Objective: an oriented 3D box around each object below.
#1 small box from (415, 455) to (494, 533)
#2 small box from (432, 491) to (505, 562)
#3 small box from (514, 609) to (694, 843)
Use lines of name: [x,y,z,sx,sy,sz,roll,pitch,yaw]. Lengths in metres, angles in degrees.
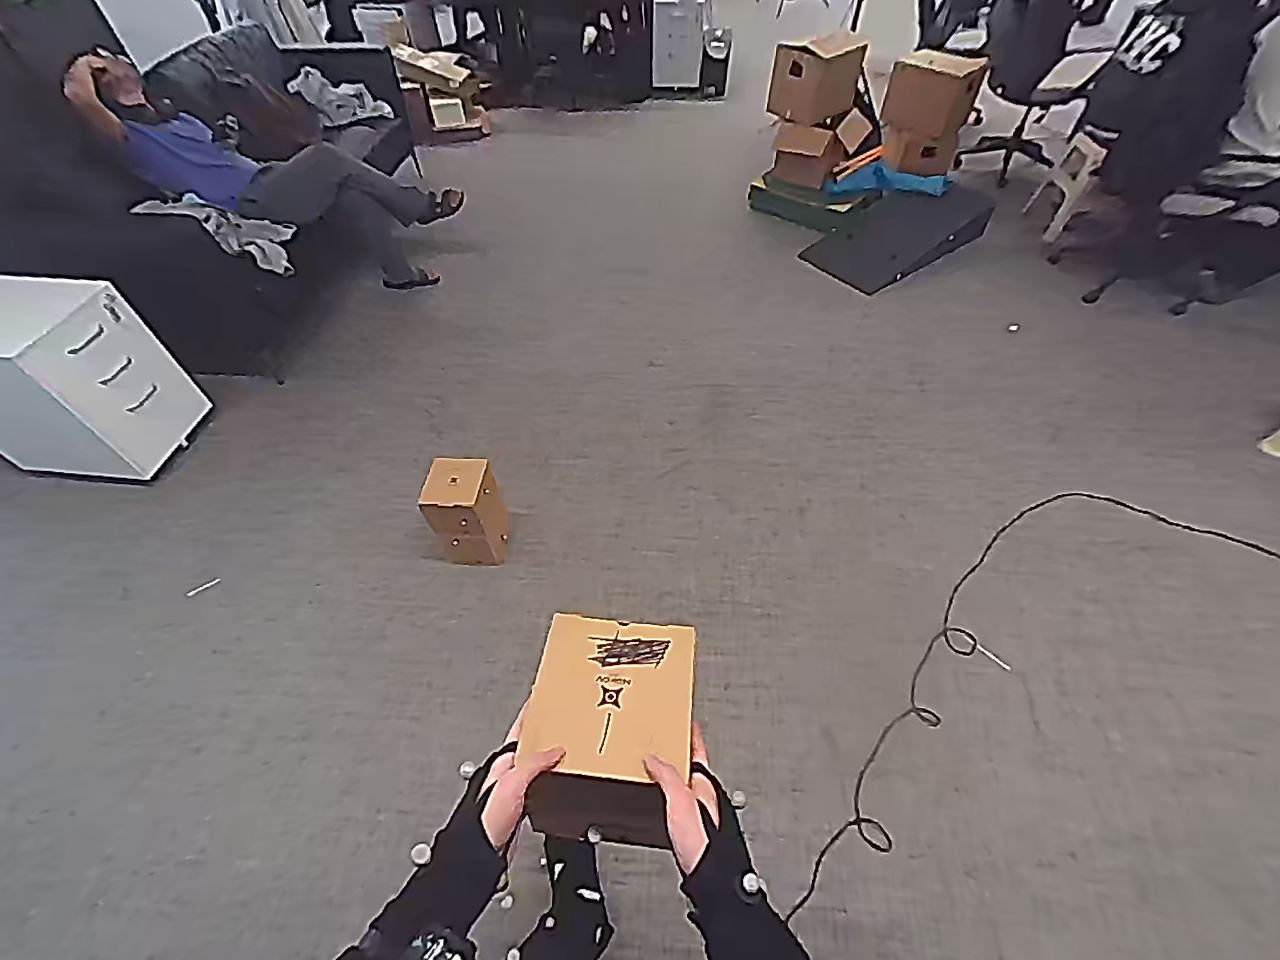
small box: [-0.553,0.046,1.641,0.168,0.176,0.179,2,50,2]
small box: [-0.550,0.148,1.767,0.168,0.176,0.179,3,51,4]
small box: [-0.031,0.274,0.612,0.168,0.176,0.179,4,39,4]
